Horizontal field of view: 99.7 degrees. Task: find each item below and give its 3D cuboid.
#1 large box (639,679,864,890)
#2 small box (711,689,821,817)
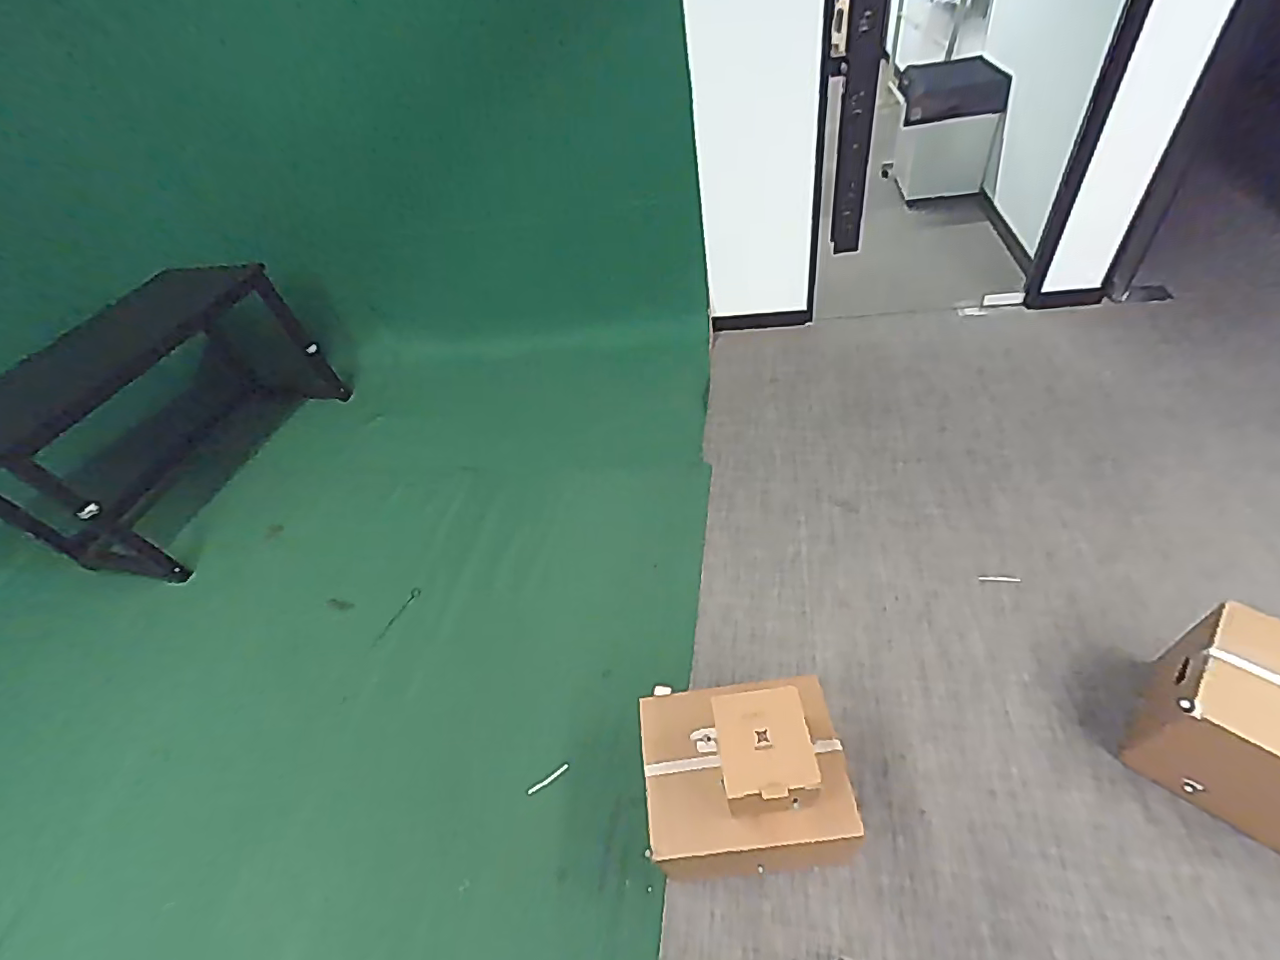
[{"bbox_3d":[0.233,0.685,1.207,0.408,0.320,0.320,-11,44,5],"label":"large box"},{"bbox_3d":[0.233,0.520,1.019,0.168,0.176,0.179,-9,46,4],"label":"small box"}]
